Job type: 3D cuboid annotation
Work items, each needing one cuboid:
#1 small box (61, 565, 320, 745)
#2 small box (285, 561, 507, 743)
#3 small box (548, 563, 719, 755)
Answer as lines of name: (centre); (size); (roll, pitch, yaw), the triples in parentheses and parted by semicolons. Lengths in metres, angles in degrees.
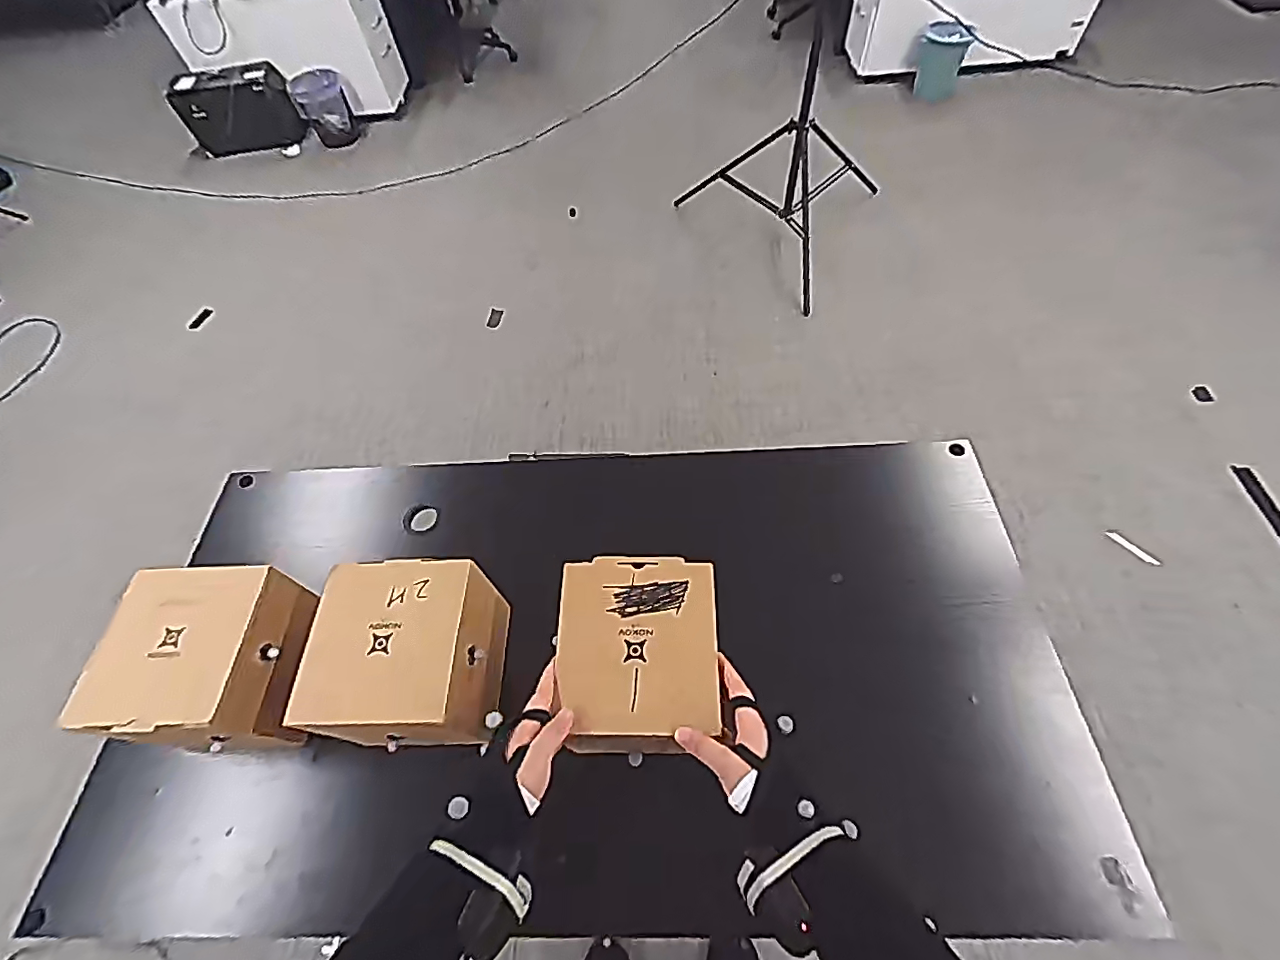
small box: (-0.506, 0.220, 0.657); (0.168, 0.176, 0.179); (-3, 56, 1)
small box: (-0.266, 0.209, 0.641); (0.168, 0.176, 0.179); (-2, 58, 3)
small box: (-0.001, 0.208, 0.620); (0.168, 0.176, 0.179); (-1, 59, 3)
